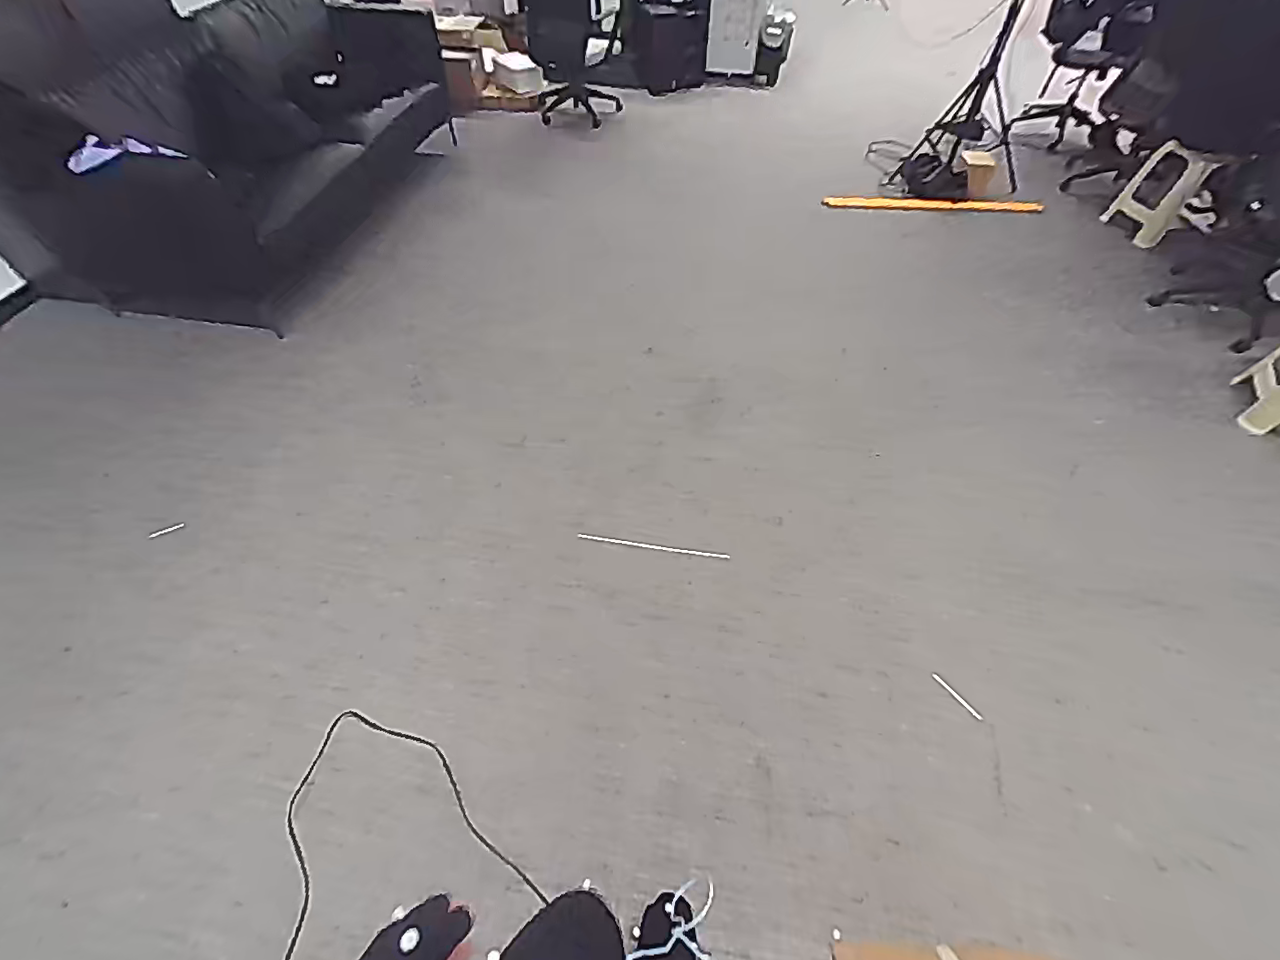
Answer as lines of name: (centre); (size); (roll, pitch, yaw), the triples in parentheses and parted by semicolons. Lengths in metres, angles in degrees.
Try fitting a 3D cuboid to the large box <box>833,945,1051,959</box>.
large box: (0.426, 0.808, 0.574); (0.320, 0.408, 0.320); (-1, 80, 5)
